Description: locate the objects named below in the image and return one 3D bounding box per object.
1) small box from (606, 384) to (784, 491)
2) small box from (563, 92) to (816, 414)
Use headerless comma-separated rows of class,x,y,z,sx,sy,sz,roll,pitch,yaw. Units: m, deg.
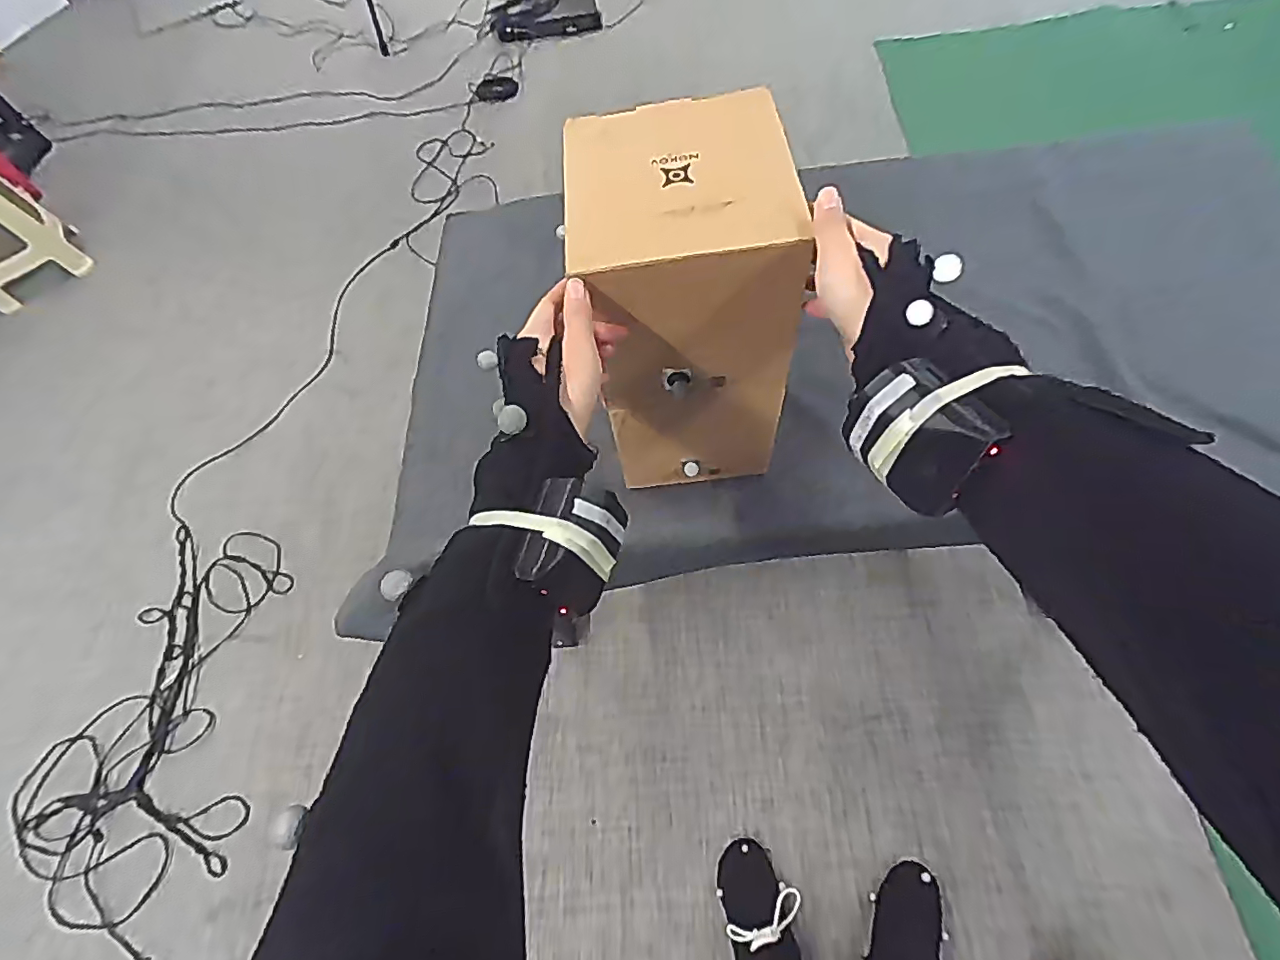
small box,0.051,-0.107,0.600,0.168,0.176,0.179,-7,63,3
small box,0.034,-0.180,0.457,0.168,0.176,0.179,-8,64,4
